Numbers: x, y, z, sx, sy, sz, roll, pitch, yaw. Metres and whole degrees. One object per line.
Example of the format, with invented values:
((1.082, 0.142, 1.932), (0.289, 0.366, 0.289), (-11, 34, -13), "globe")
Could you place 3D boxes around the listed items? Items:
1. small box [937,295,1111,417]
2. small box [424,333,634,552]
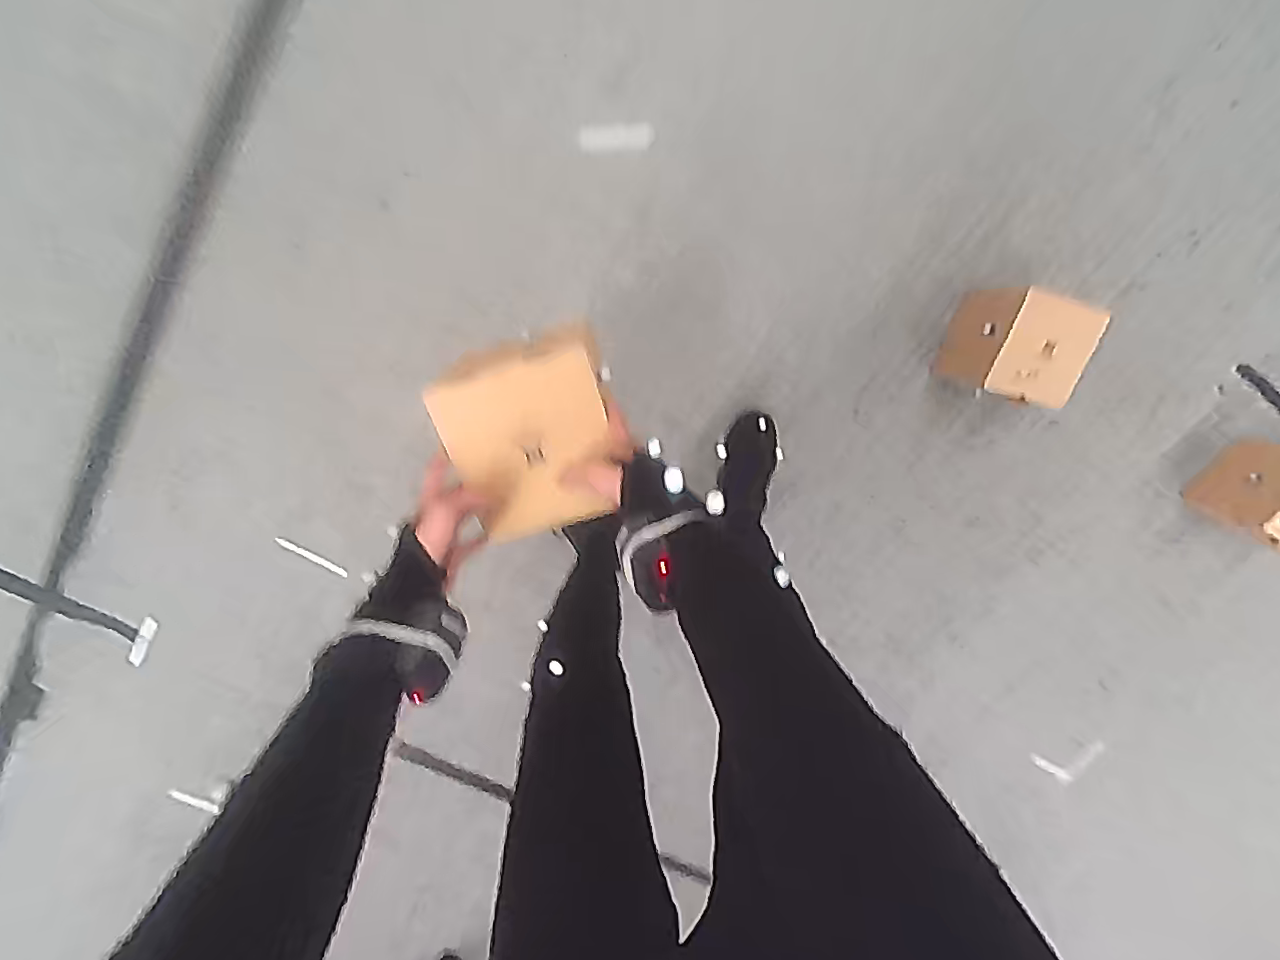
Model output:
((0.696, -0.236, 1.006), (0.168, 0.176, 0.179), (14, 108, -8), "small box")
((-0.108, -0.050, 0.609), (0.168, 0.176, 0.179), (-16, 113, 3), "small box")
